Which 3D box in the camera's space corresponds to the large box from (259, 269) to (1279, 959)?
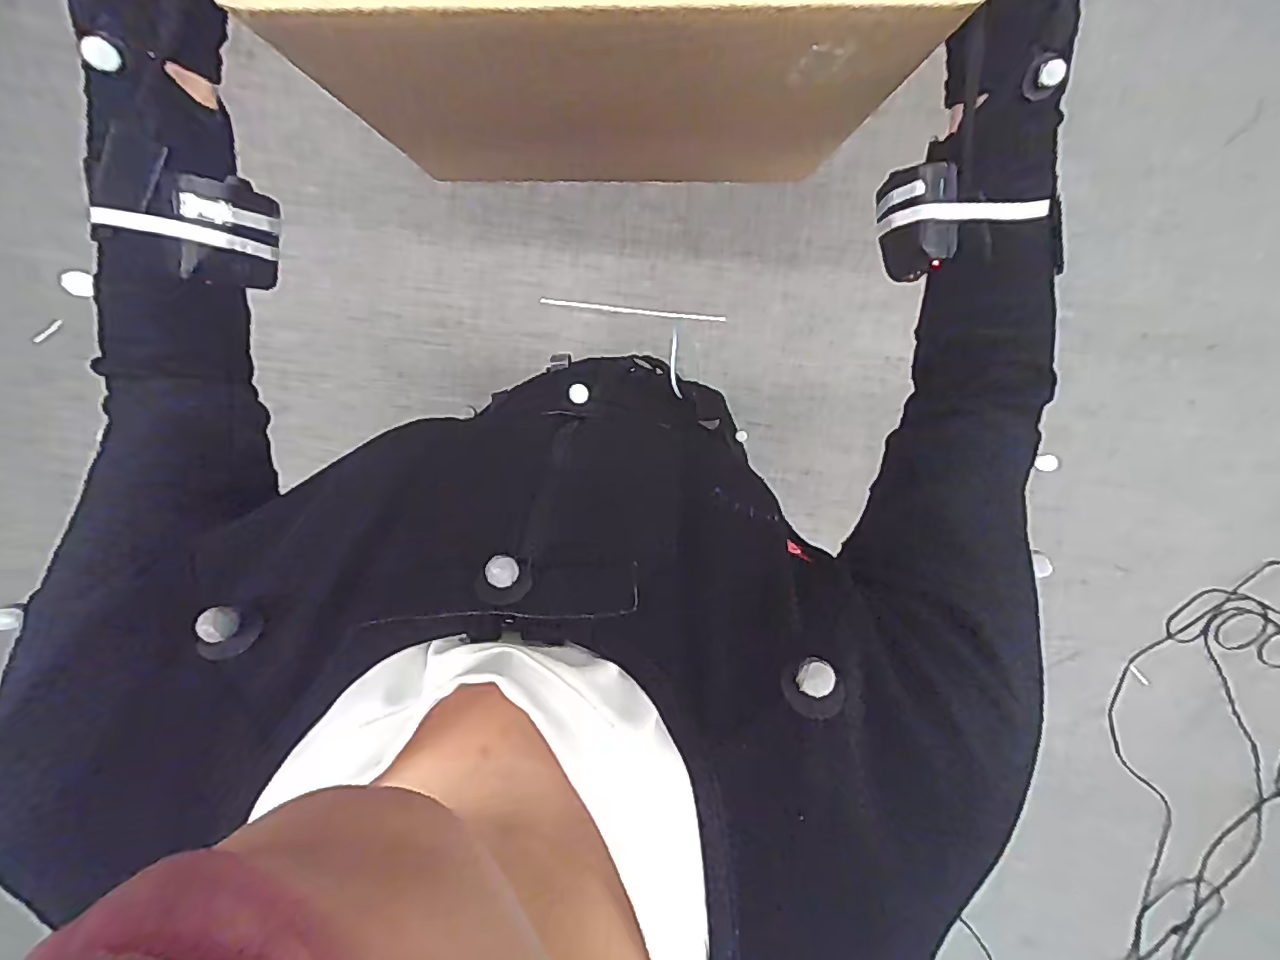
[{"bbox_3d":[0.113,0.142,0.328,0.320,0.320,0.408,19,69,29],"label":"large box"}]
